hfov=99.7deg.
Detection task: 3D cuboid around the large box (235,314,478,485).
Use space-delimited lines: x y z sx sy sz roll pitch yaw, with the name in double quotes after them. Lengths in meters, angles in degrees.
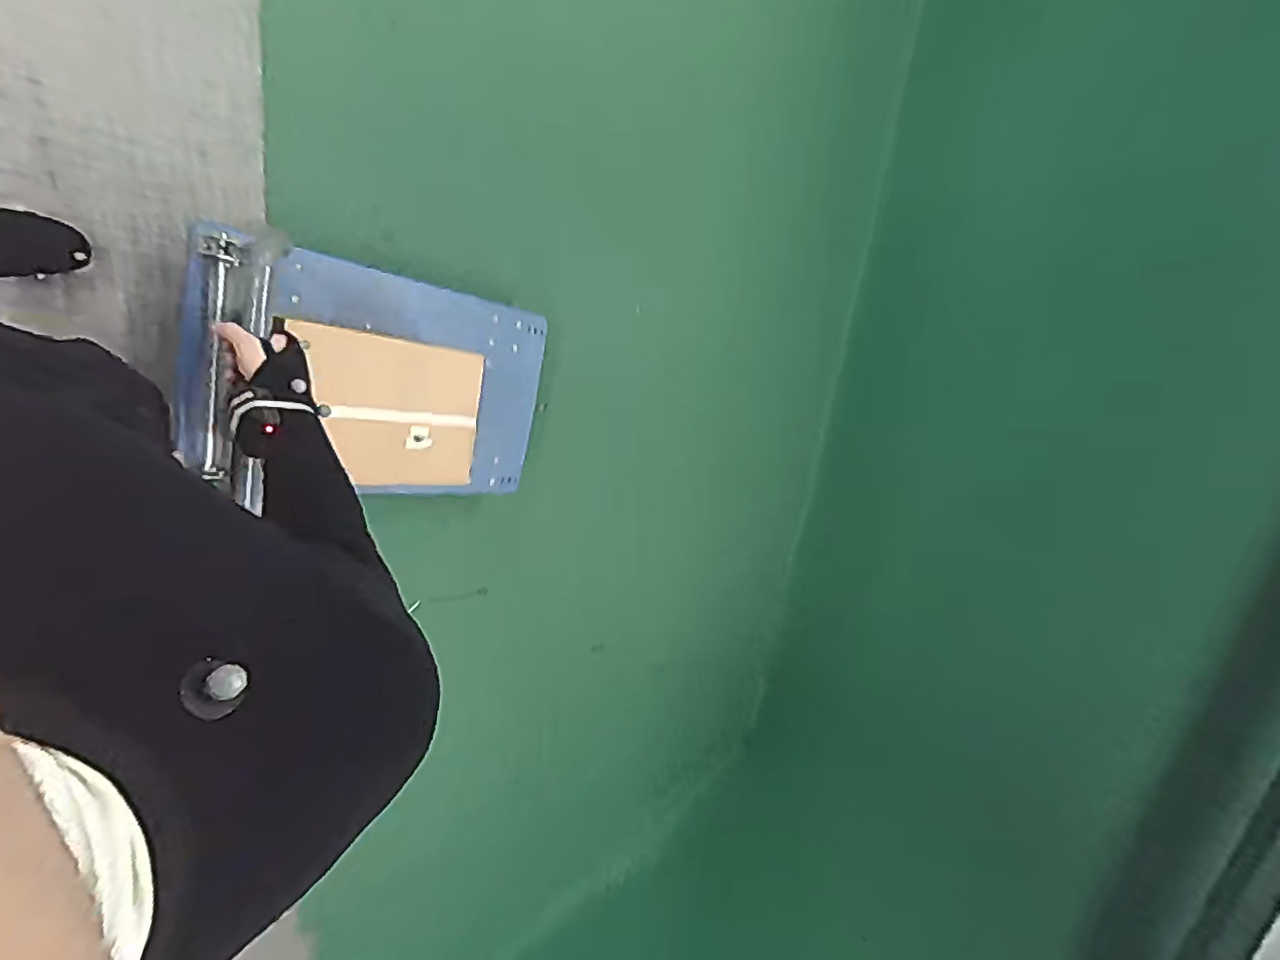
-0.645 -0.178 1.234 0.408 0.320 0.320 1 106 -48 "large box"
